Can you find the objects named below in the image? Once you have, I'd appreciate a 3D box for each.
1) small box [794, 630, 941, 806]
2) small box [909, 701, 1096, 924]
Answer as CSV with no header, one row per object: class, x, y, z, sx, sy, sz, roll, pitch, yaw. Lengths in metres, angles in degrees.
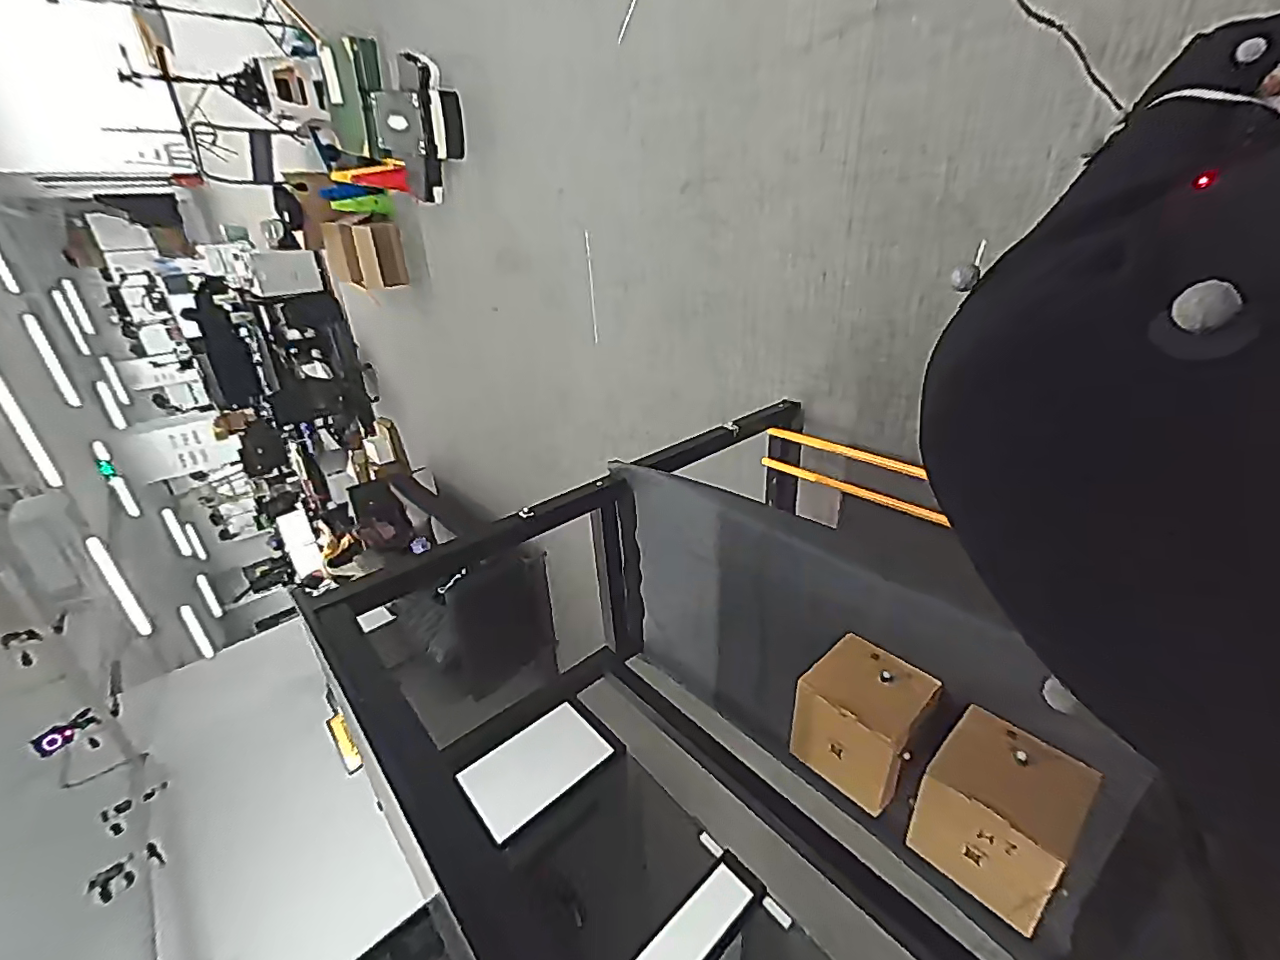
small box,0.385,0.395,0.923,0.168,0.176,0.179,24,128,43
small box,0.520,0.466,0.782,0.168,0.176,0.179,24,128,43
